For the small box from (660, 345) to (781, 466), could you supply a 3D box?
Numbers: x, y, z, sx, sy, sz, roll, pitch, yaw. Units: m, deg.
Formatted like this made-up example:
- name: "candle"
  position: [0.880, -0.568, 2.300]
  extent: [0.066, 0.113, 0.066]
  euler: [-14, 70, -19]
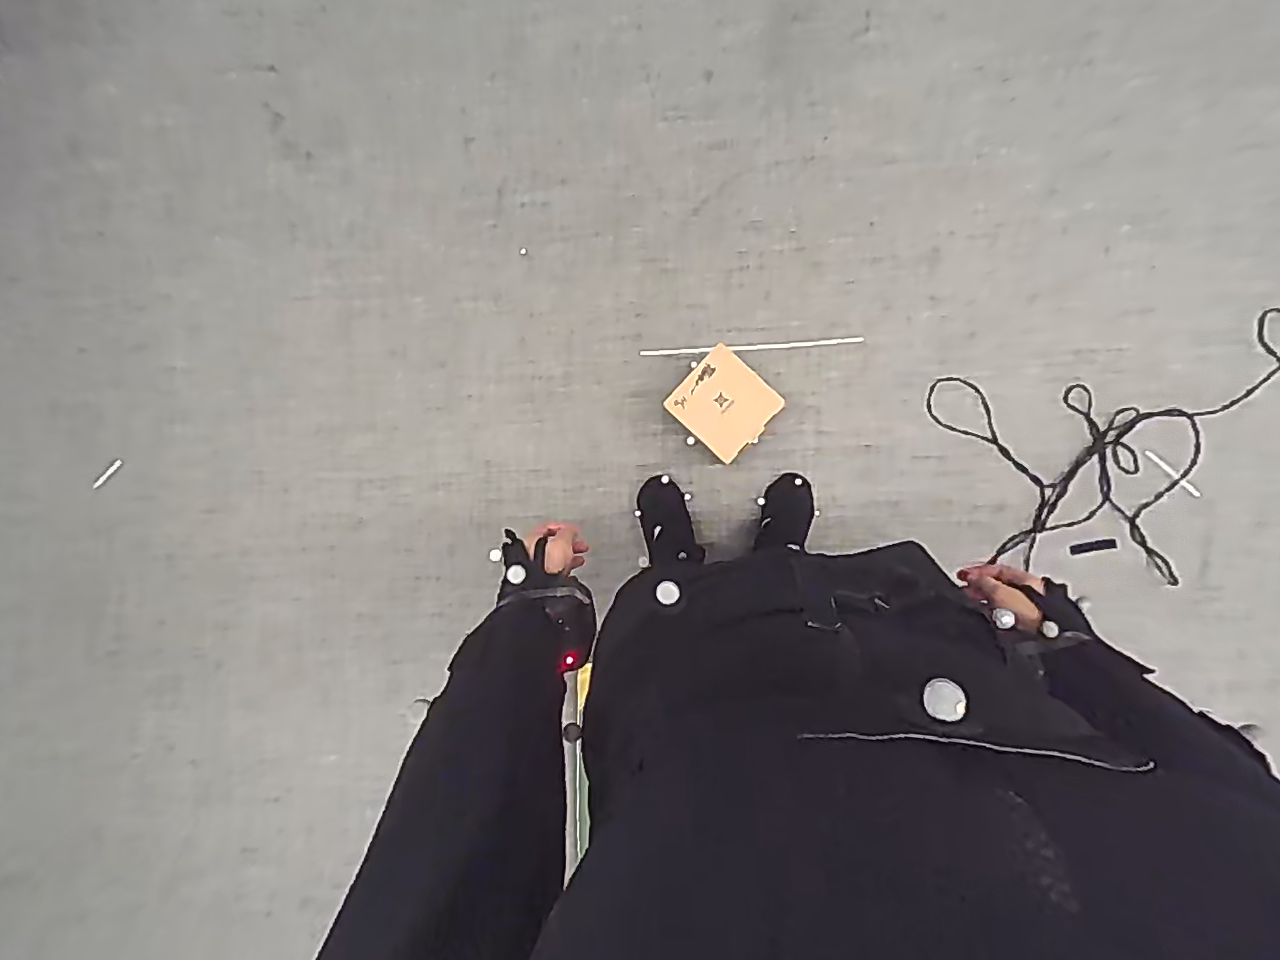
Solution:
- name: "small box"
  position: [0.160, -0.149, 1.118]
  extent: [0.179, 0.176, 0.168]
  euler: [43, 95, 1]
